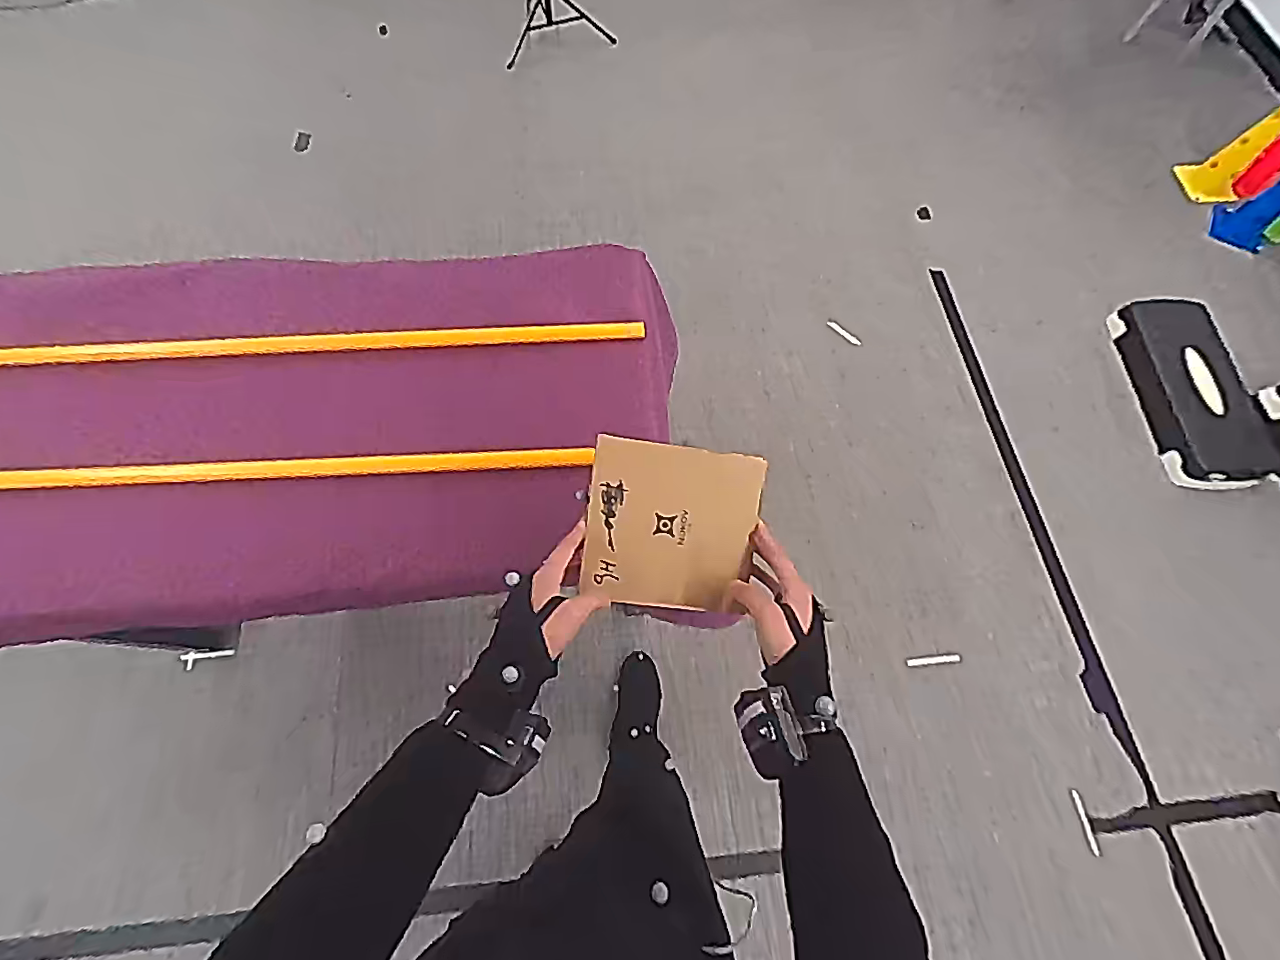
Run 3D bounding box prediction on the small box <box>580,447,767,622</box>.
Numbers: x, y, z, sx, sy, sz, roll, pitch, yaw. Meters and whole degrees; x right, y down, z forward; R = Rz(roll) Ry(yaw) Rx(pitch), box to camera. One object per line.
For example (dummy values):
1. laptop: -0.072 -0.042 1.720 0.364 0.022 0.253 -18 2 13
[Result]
1. small box: 0.028 0.052 0.634 0.179 0.176 0.168 8 93 -5
